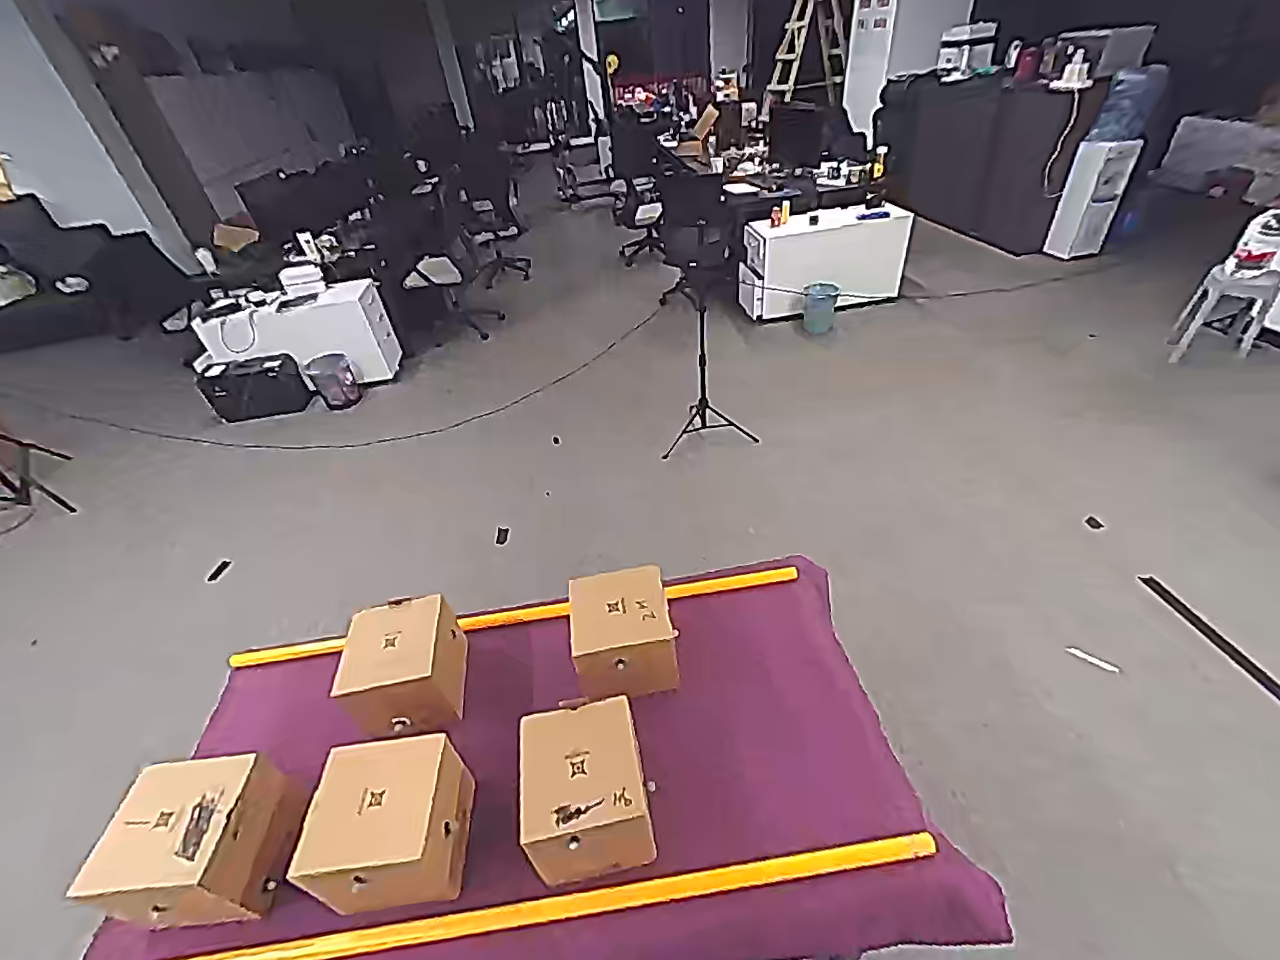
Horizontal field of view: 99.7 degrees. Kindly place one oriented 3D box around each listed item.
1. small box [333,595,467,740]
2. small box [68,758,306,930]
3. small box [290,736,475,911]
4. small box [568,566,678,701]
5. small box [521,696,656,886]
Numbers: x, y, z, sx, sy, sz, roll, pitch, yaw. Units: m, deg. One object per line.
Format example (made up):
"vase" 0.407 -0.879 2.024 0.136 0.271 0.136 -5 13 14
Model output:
"small box" -0.429 0.346 1.002 0.168 0.176 0.179 -11 40 -4
"small box" -0.639 0.536 0.797 0.179 0.176 0.168 -6 39 1
"small box" -0.357 0.505 0.795 0.179 0.176 0.168 -8 39 0
"small box" -0.031 0.288 1.008 0.179 0.176 0.168 -9 40 -2
"small box" -0.075 0.460 0.804 0.168 0.176 0.179 -11 37 -4
